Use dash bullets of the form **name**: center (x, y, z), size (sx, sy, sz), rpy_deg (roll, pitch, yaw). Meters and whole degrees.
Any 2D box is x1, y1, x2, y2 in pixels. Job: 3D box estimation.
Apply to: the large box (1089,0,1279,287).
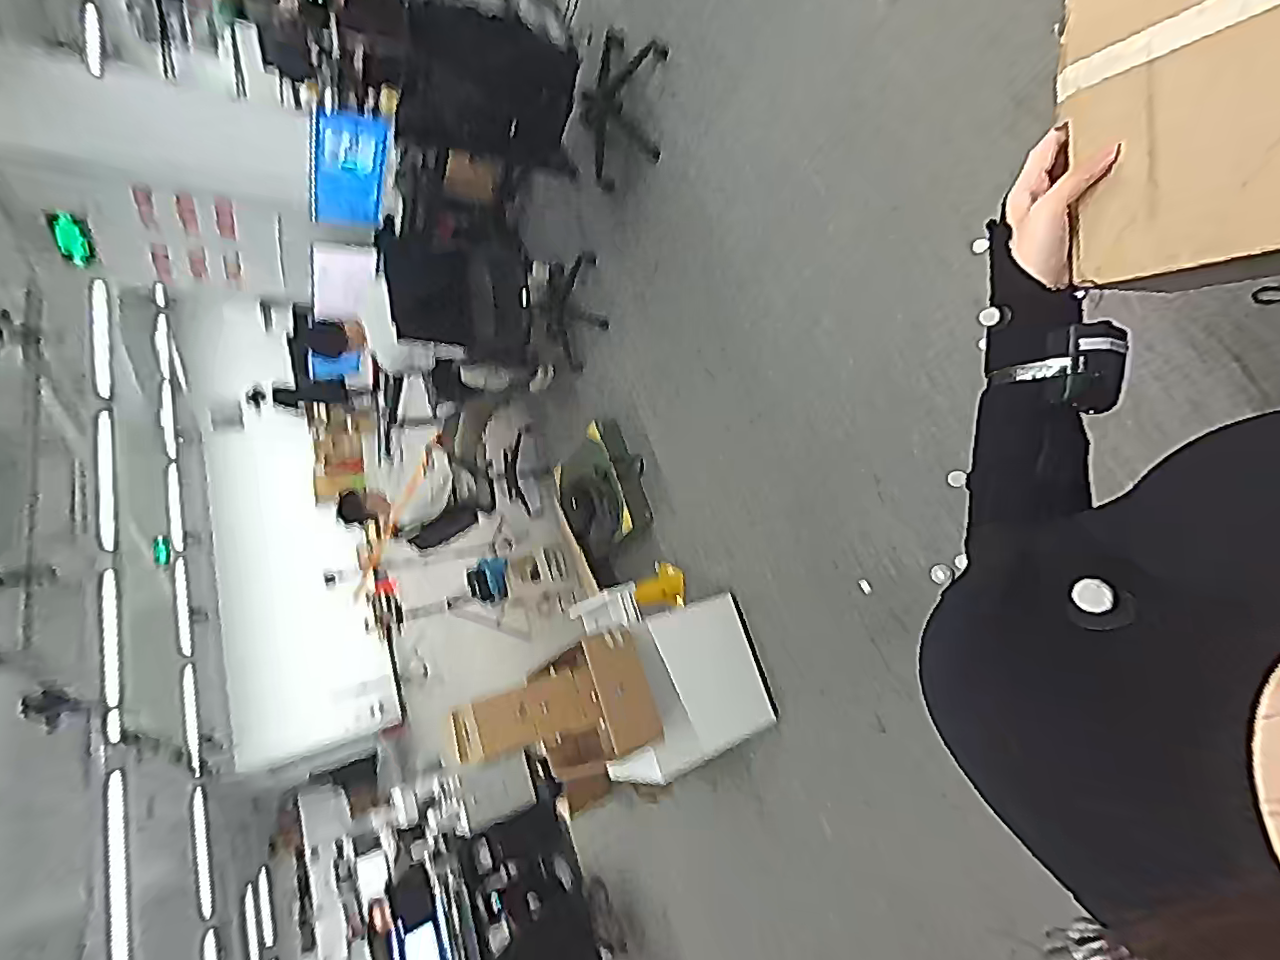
- **large box**: center (0.577, -0.331, 0.341), size (0.408, 0.320, 0.320), rpy_deg (5, 105, 52)
